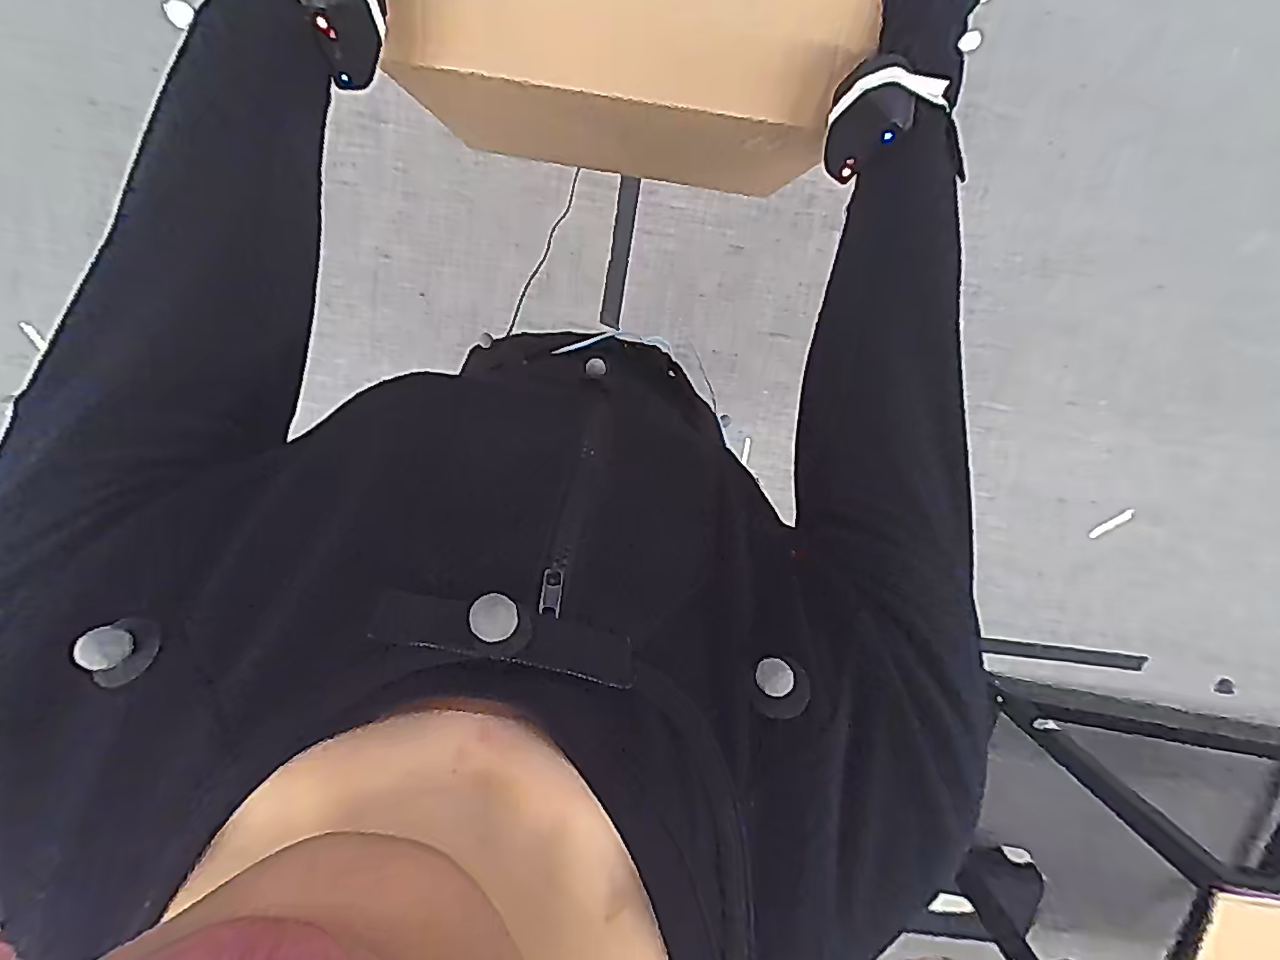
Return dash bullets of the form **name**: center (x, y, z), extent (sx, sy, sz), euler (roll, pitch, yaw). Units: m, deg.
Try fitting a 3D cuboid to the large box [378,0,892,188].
- **large box**: center (0.004, -0.507, 0.529), extent (0.408, 0.320, 0.320), euler (7, 110, -4)
